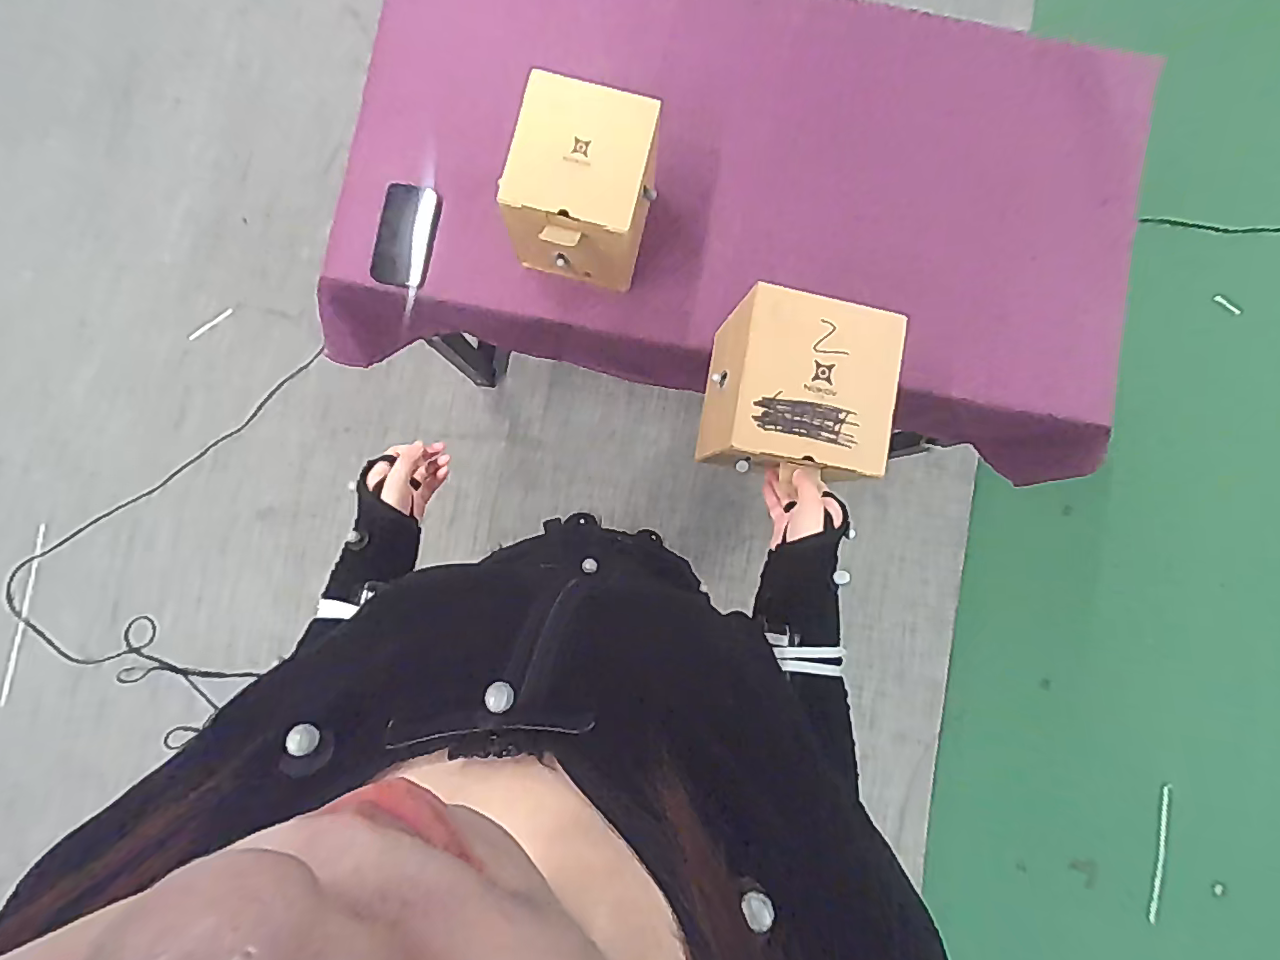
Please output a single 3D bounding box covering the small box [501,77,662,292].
[{"bbox_3d":[-0.075,-0.391,0.744,0.168,0.176,0.179,14,86,-1],"label":"small box"}]
